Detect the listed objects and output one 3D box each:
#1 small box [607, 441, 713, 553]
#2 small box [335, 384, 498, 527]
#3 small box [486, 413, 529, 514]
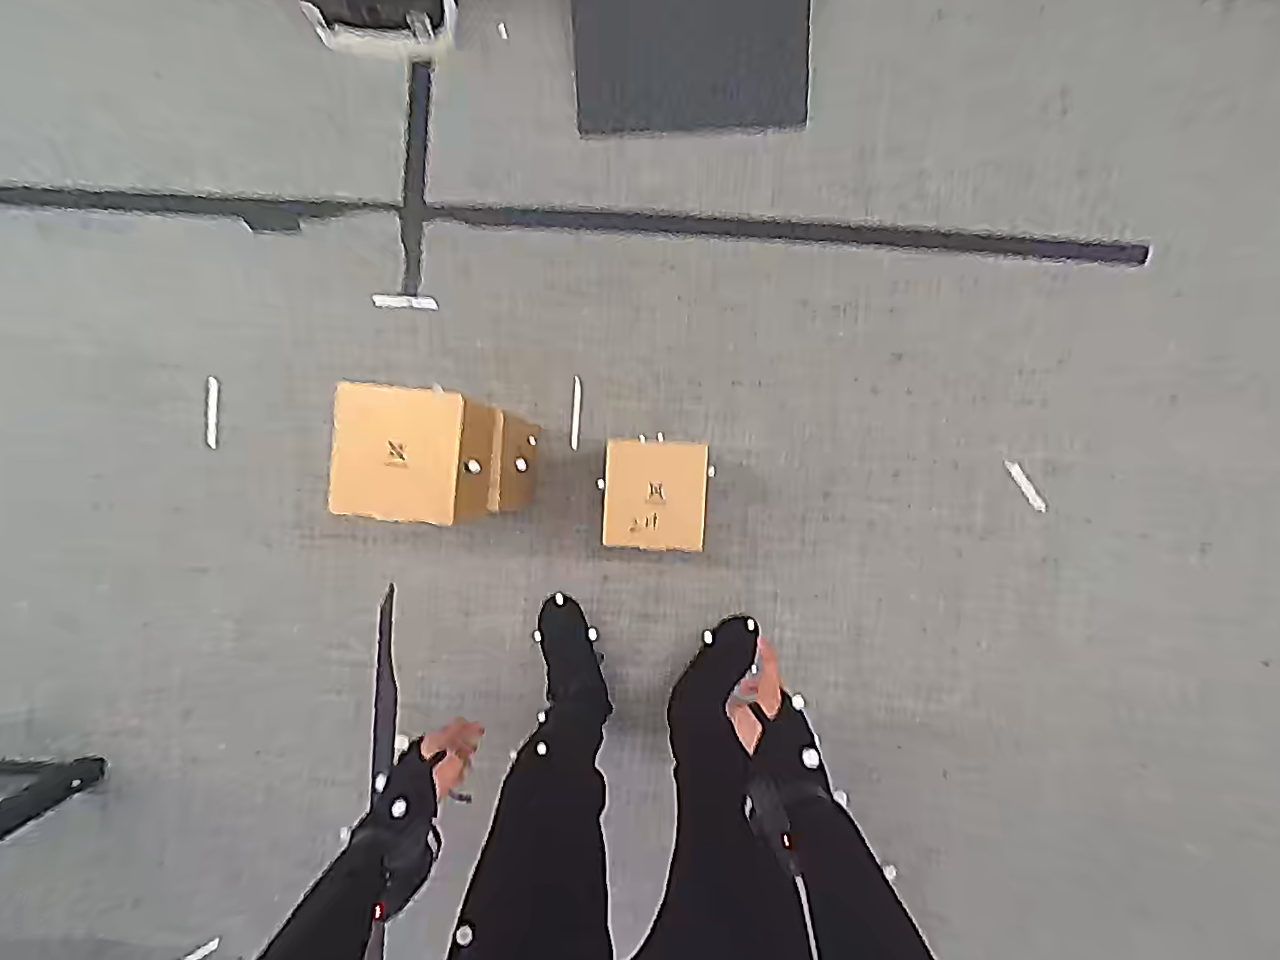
[{"bbox_3d":[0.033,0.025,0.955,0.168,0.176,0.179,3,92,1],"label":"small box"},{"bbox_3d":[-0.313,-0.035,0.789,0.168,0.176,0.179,6,93,-1],"label":"small box"},{"bbox_3d":[-0.303,-0.034,0.952,0.179,0.176,0.168,4,92,-1],"label":"small box"}]
